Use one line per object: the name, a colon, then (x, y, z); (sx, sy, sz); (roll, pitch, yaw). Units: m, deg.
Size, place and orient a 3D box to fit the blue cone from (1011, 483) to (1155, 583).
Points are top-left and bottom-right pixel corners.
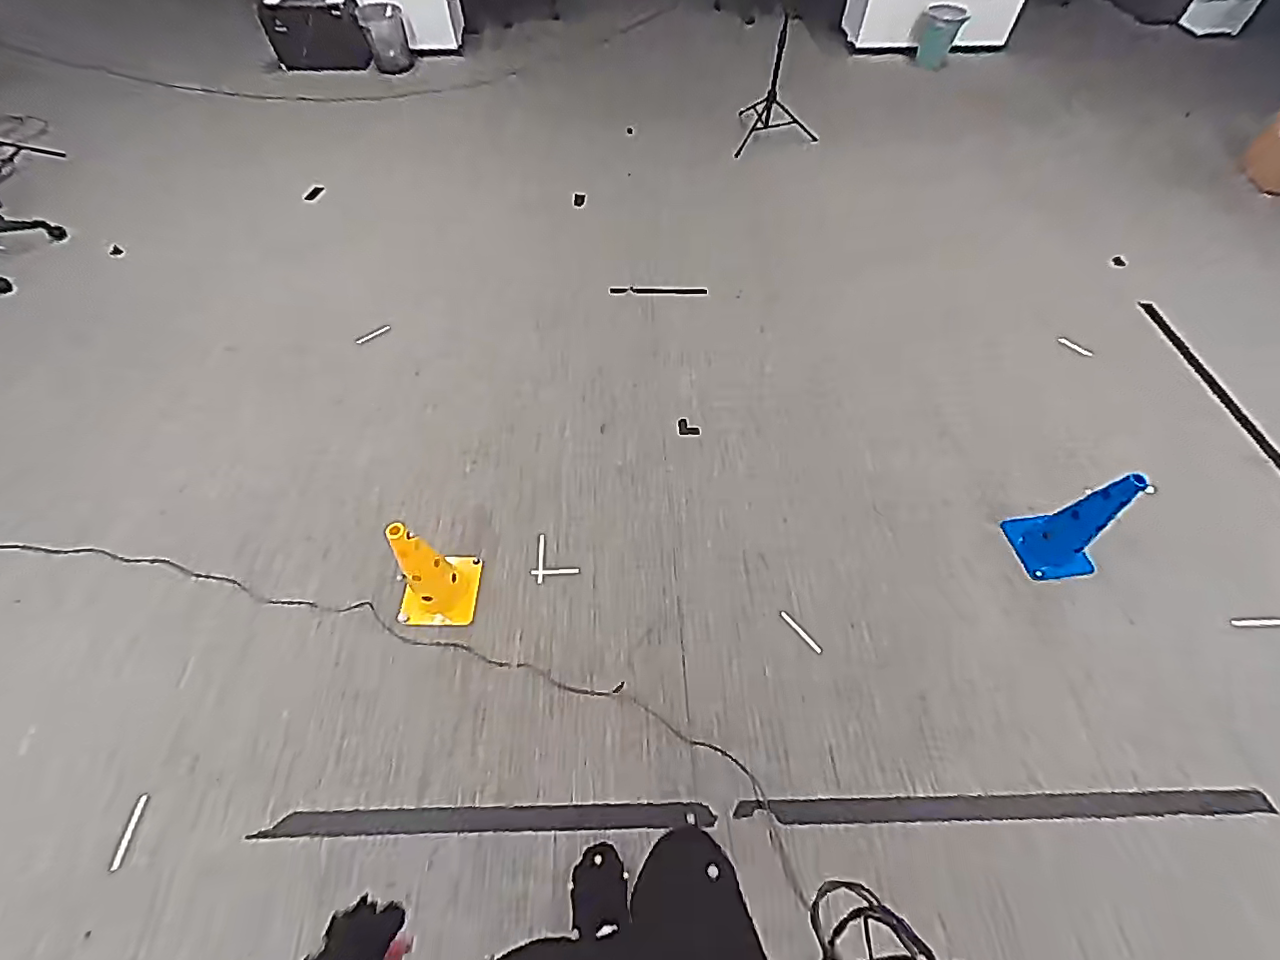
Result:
blue cone: (1.211, 0.116, 1.451); (0.193, 0.380, 0.192); (-5, 57, -4)
